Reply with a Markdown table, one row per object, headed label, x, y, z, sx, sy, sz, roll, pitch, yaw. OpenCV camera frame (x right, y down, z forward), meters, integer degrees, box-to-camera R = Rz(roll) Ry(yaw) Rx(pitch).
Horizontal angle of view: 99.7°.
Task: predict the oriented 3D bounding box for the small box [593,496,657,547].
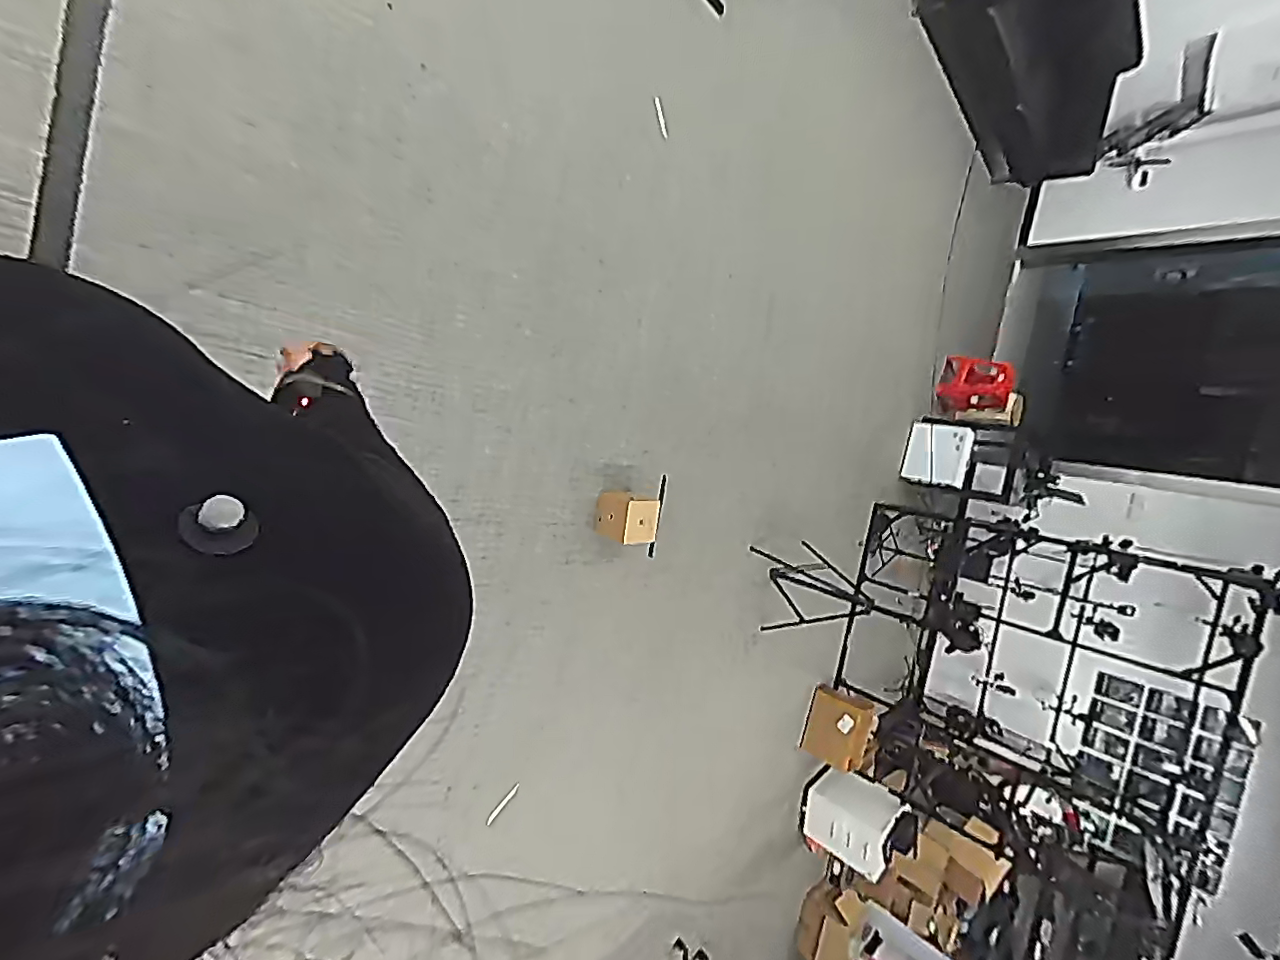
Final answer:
| label | x | y | z | sx | sy | sz | roll | pitch | yaw |
| --- | --- | --- | --- | --- | --- | --- | --- | --- | --- |
| small box | -0.062 | 0.157 | 2.090 | 0.179 | 0.176 | 0.168 | 2 | 99 | -47 |
